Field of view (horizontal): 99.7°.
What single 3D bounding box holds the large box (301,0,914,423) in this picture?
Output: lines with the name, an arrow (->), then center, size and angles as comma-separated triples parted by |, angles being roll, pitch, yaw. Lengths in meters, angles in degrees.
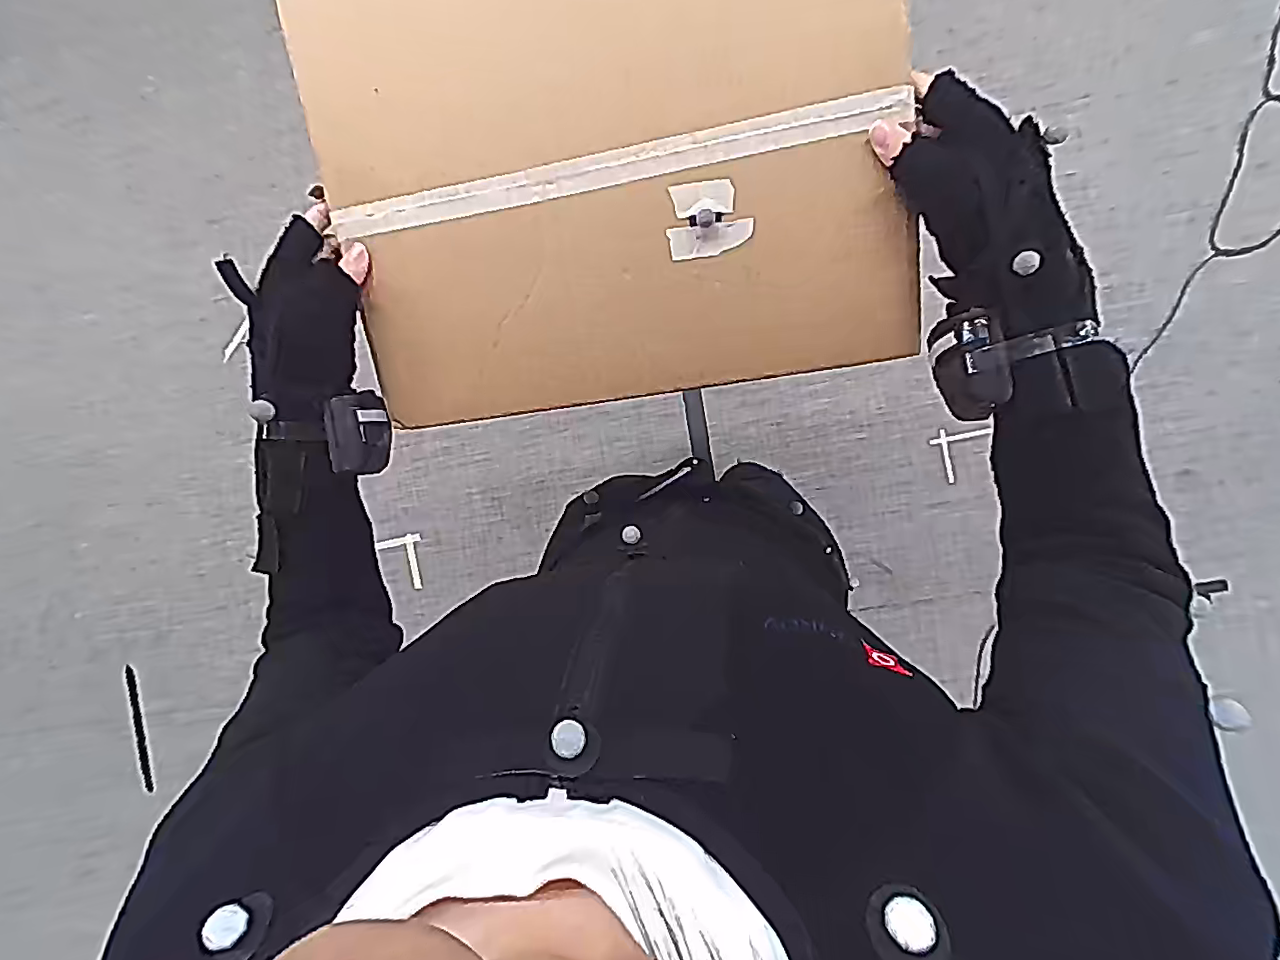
large box -> -0.007, -0.258, 0.528 | 0.408, 0.320, 0.320 | -8, 105, 8
